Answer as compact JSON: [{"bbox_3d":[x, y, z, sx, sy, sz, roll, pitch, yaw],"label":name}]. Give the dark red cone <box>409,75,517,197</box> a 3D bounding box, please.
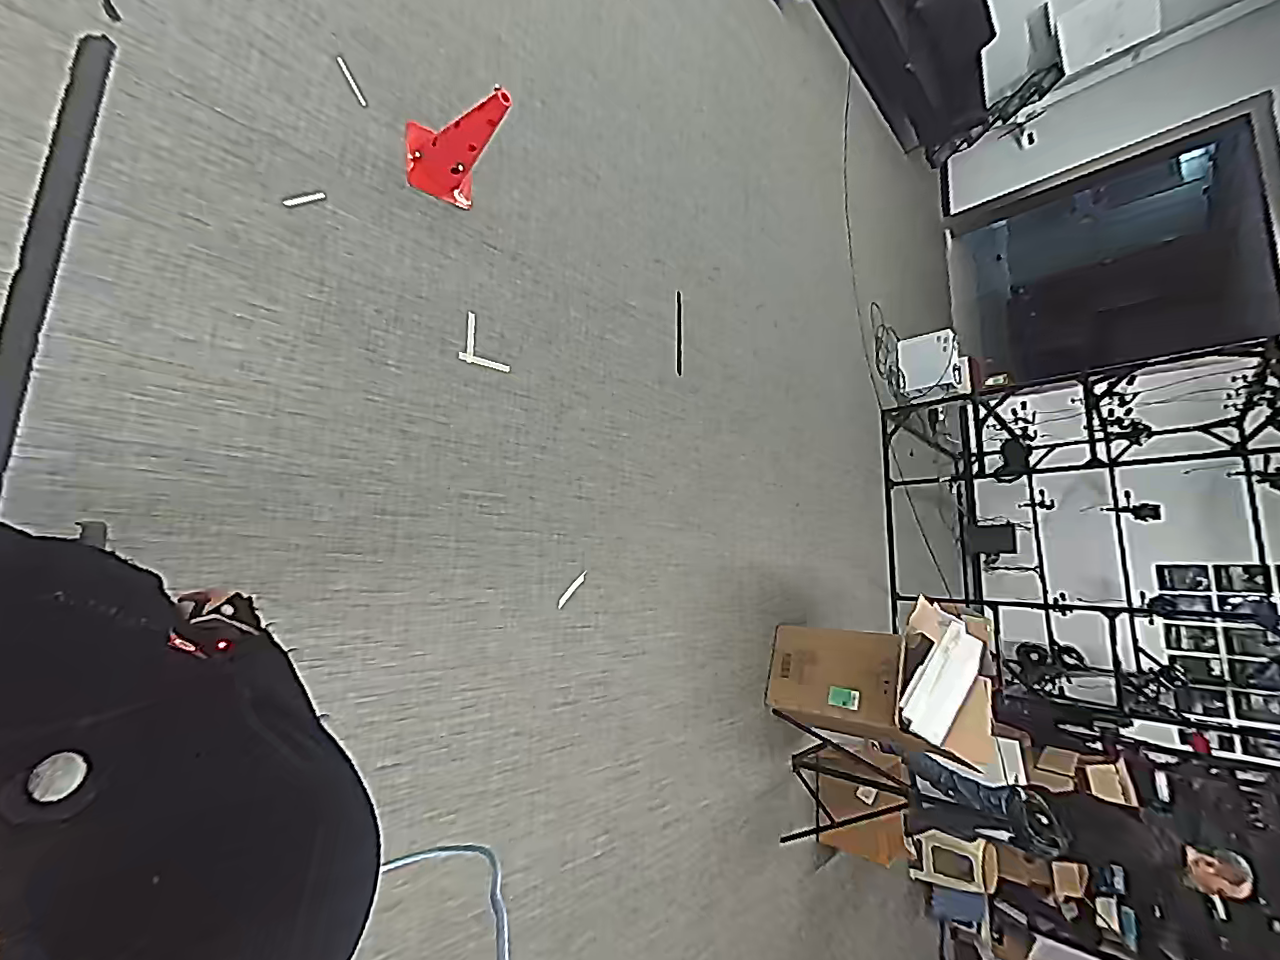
[{"bbox_3d":[-0.455,-0.958,1.459,0.201,0.394,0.202,1,83,-46],"label":"dark red cone"}]
